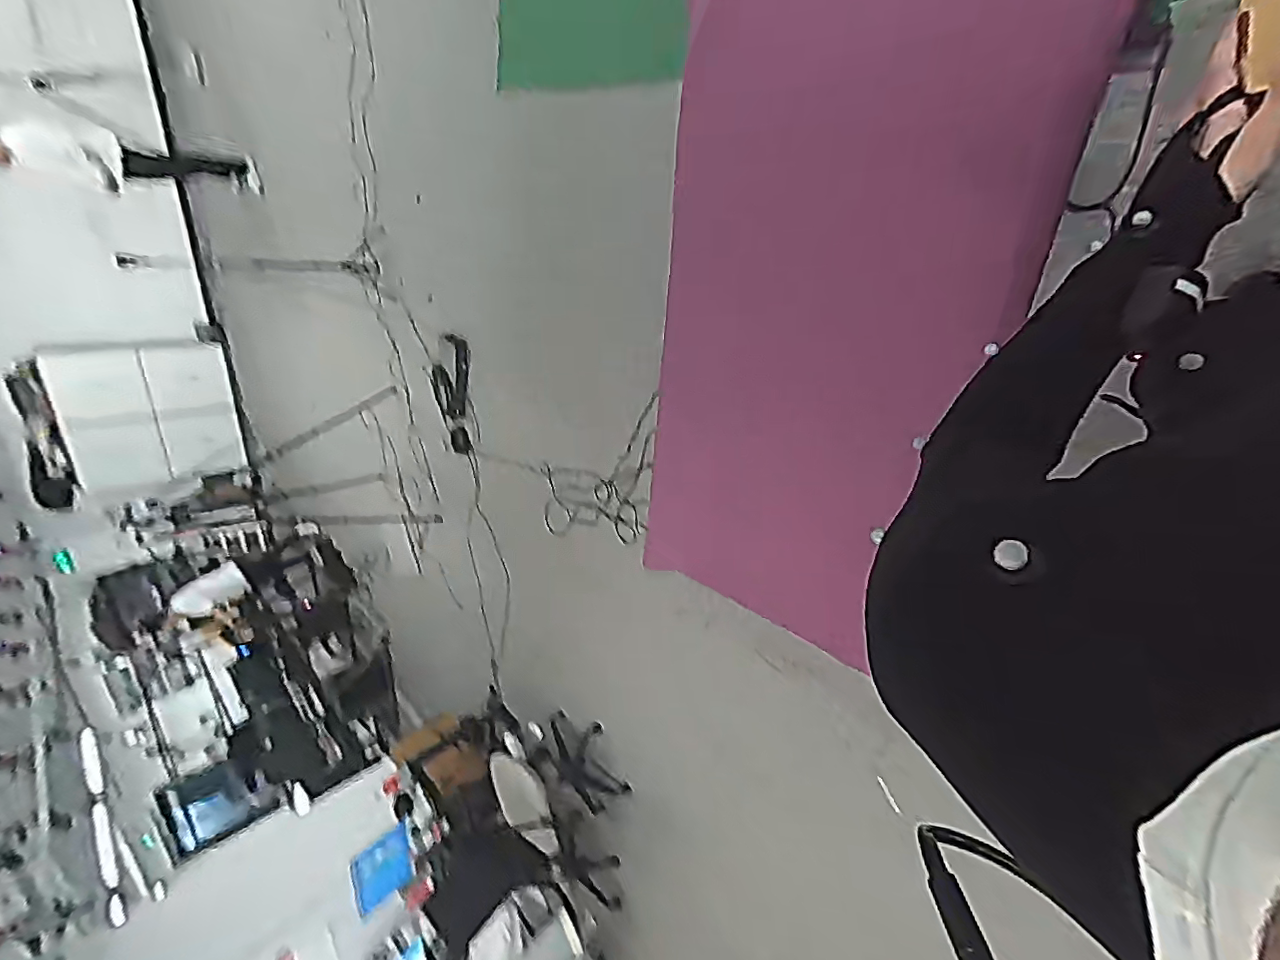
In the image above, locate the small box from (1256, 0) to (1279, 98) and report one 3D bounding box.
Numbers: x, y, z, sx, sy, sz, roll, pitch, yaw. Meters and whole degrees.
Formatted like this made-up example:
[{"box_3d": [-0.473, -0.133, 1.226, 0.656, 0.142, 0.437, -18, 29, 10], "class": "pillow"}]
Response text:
[{"box_3d": [0.577, -0.402, 0.381, 0.179, 0.176, 0.168, 5, 112, 49], "class": "small box"}]
